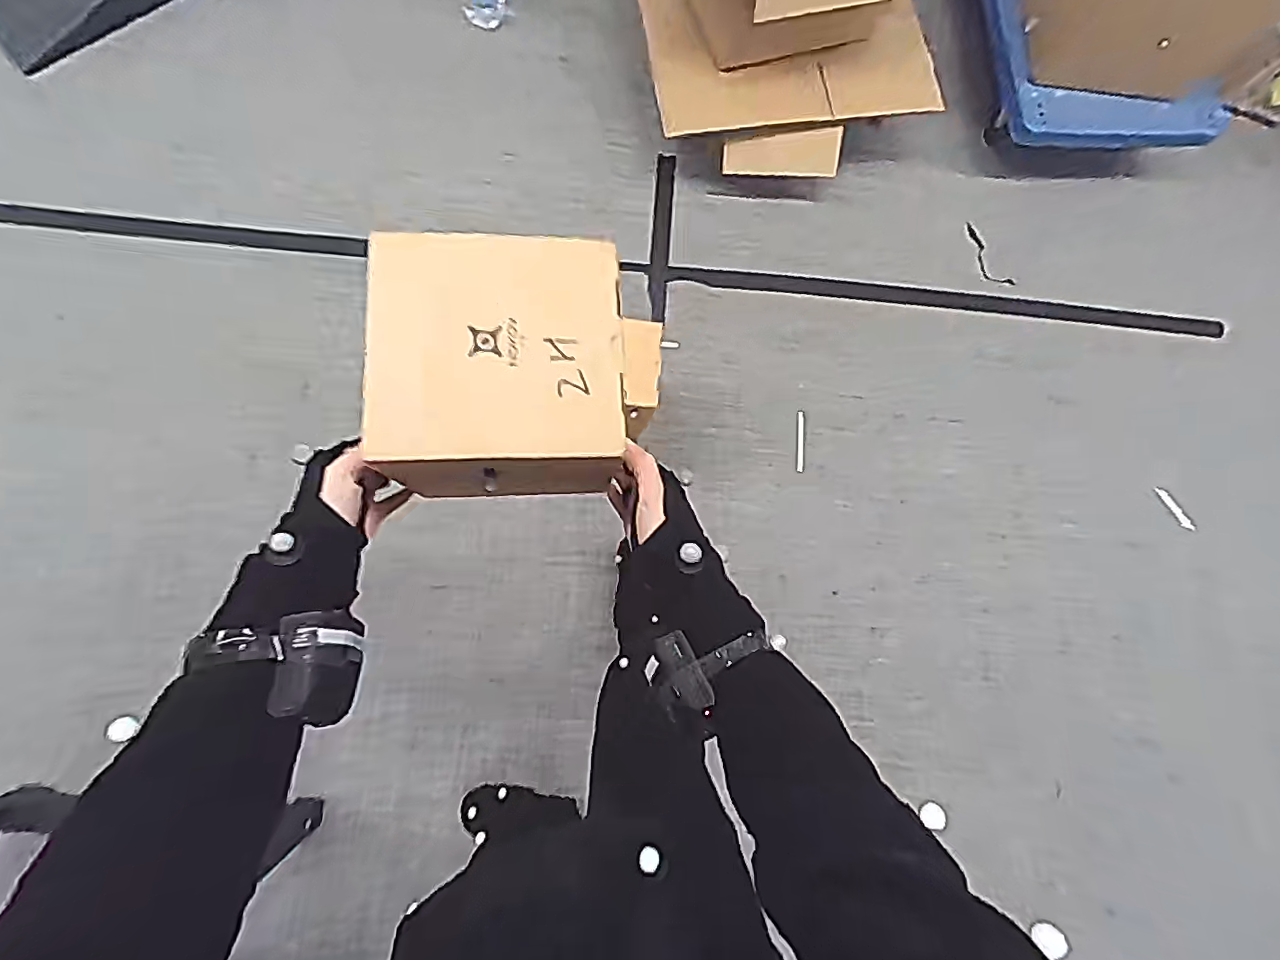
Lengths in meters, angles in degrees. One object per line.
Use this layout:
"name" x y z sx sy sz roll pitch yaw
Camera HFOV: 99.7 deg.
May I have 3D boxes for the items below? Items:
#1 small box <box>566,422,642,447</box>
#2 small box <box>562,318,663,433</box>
"small box" -0.077 -0.178 1.218 0.168 0.176 0.179 4 79 -7
"small box" -0.057 -0.195 1.057 0.179 0.176 0.168 4 80 -7
